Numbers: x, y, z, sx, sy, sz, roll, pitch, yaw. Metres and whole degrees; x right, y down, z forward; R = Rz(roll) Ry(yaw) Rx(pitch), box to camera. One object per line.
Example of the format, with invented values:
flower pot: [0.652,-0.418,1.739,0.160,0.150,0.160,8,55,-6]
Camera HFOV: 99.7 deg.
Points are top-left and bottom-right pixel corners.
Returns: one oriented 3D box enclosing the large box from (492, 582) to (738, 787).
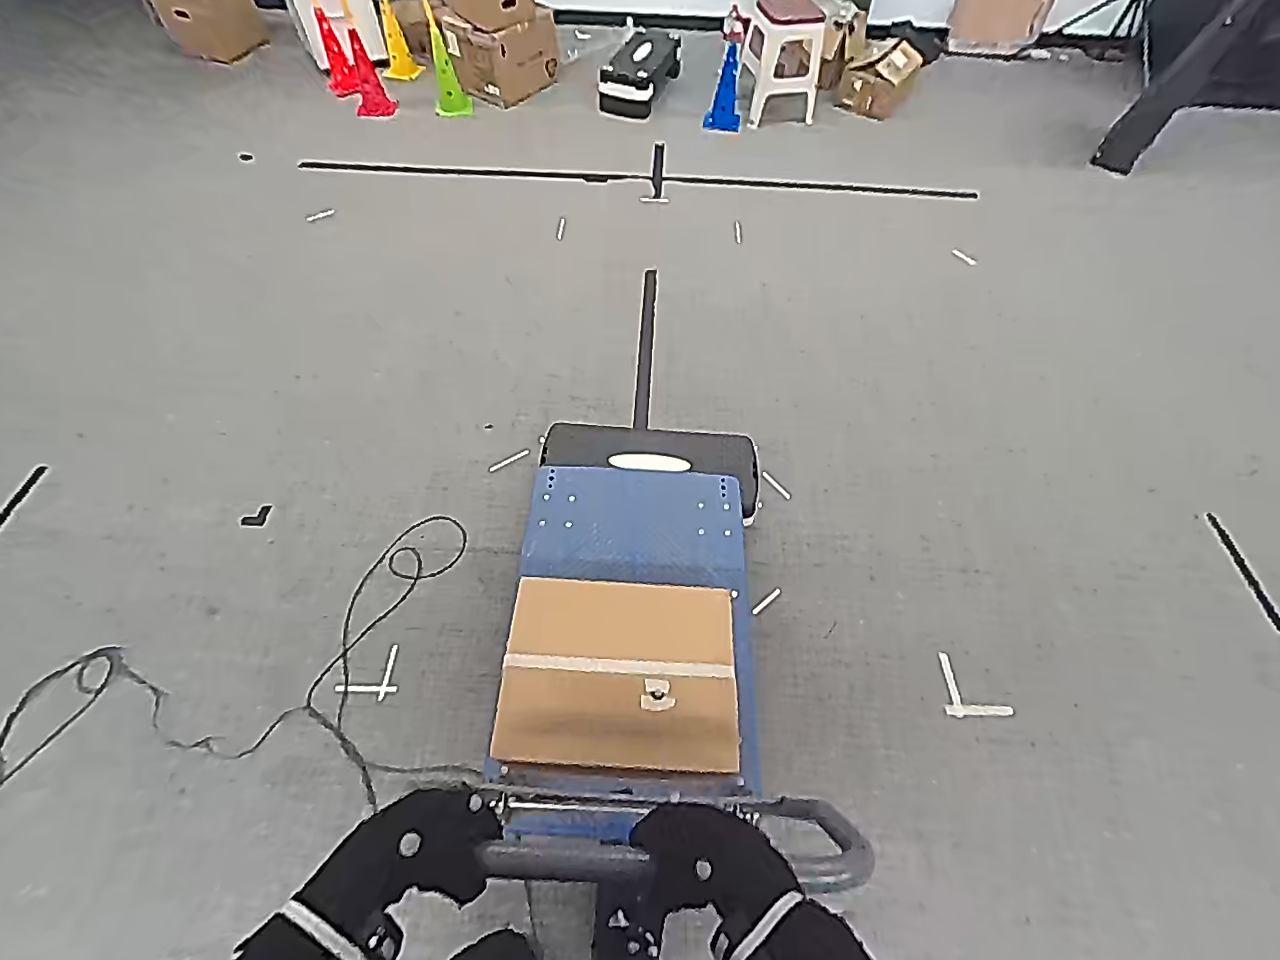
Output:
large box: [-0.044,0.413,1.067,0.408,0.320,0.320,4,57,-1]
